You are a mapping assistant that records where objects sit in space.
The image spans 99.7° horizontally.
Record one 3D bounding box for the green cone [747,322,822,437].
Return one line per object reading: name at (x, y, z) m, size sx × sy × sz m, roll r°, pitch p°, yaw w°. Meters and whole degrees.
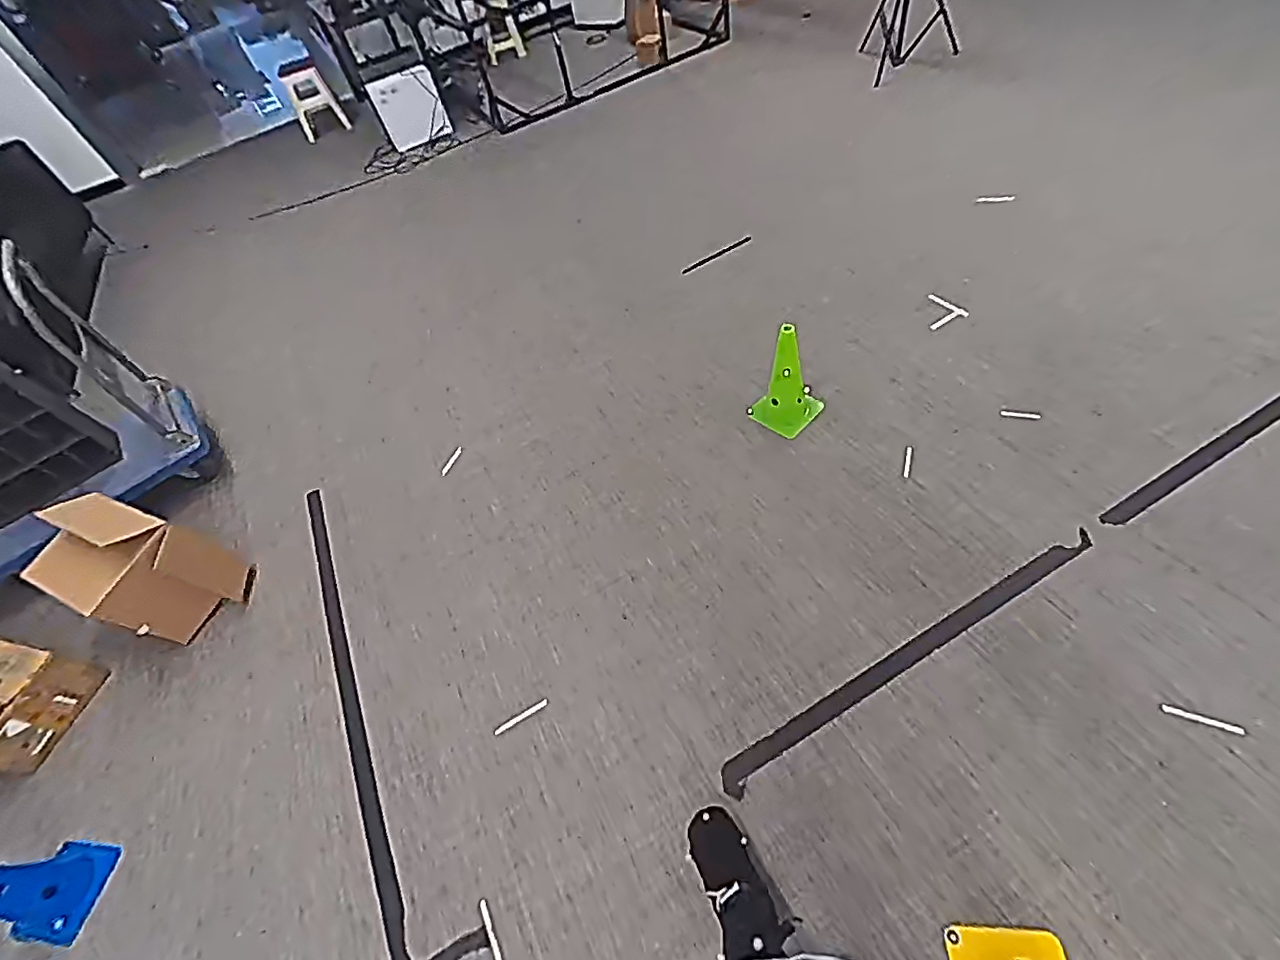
green cone at (0.475, -0.349, 1.753) m, size 0.202 × 0.368 × 0.200 m, roll -42°, pitch 56°, yaw -20°
